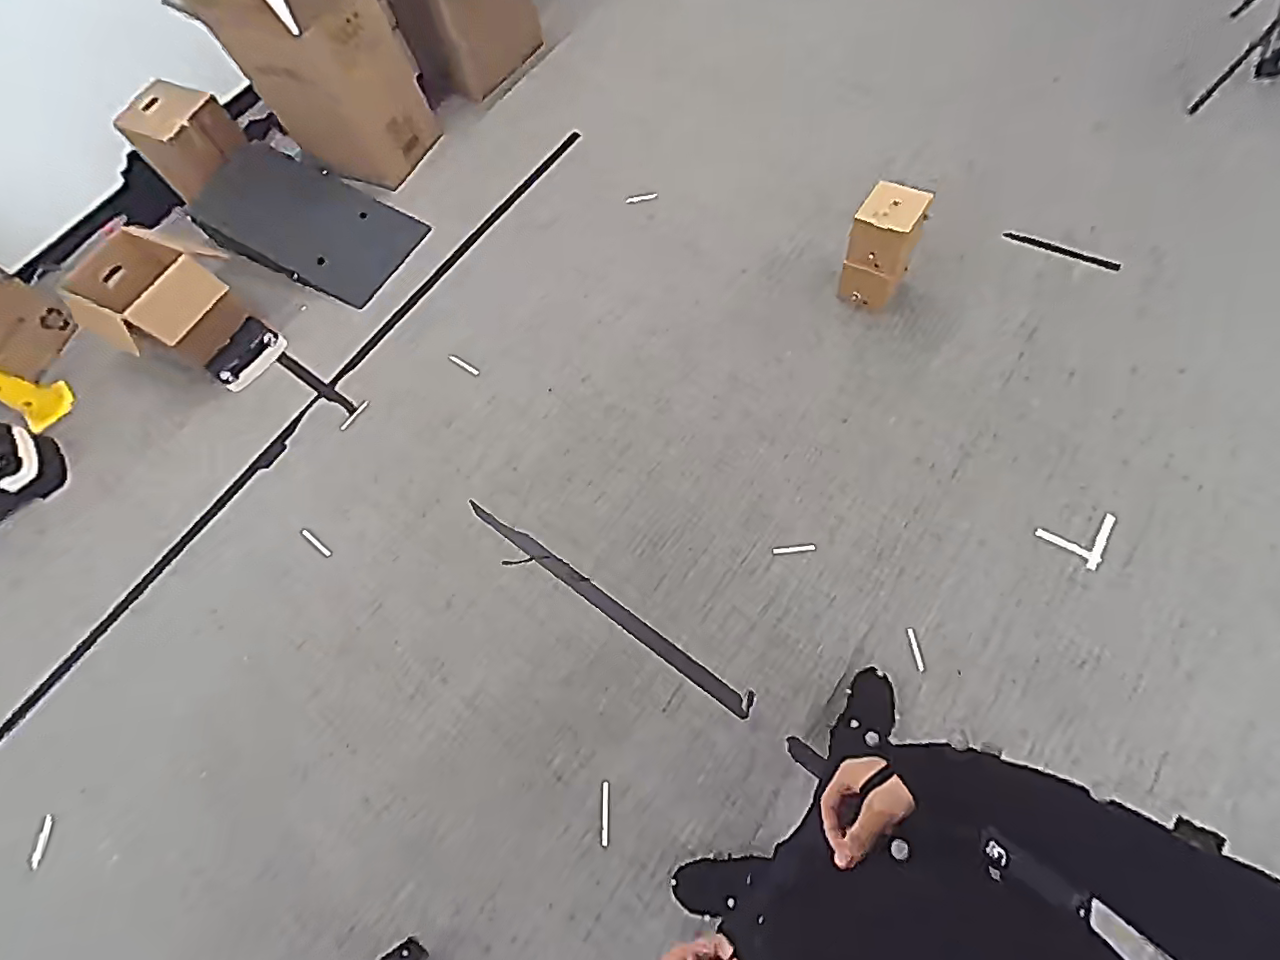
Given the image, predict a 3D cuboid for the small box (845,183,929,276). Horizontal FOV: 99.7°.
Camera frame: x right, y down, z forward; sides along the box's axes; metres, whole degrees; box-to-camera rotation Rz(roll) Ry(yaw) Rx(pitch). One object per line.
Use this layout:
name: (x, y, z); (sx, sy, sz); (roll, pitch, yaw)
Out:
small box: (0.755, -0.773, 1.675); (0.168, 0.176, 0.179); (30, 75, 23)

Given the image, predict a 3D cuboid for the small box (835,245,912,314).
small box: (0.778, -0.699, 1.820); (0.168, 0.176, 0.179); (31, 74, 23)
